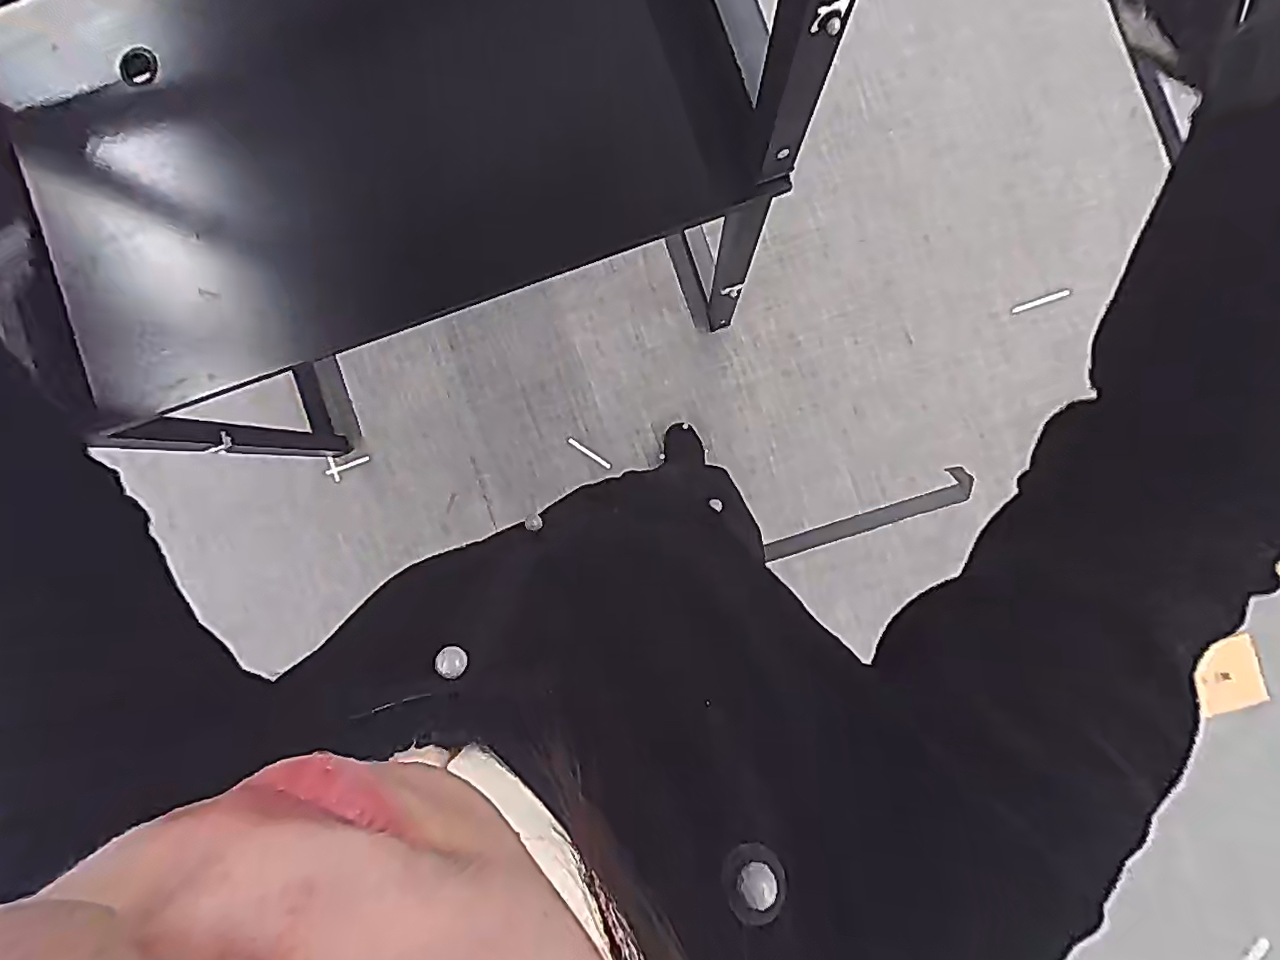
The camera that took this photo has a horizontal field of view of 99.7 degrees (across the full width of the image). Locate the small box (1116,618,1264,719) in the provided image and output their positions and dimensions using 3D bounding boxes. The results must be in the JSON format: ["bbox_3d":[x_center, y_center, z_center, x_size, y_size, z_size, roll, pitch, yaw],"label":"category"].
[{"bbox_3d":[1.353,0.459,1.341,0.179,0.176,0.168,-17,89,4],"label":"small box"}]
